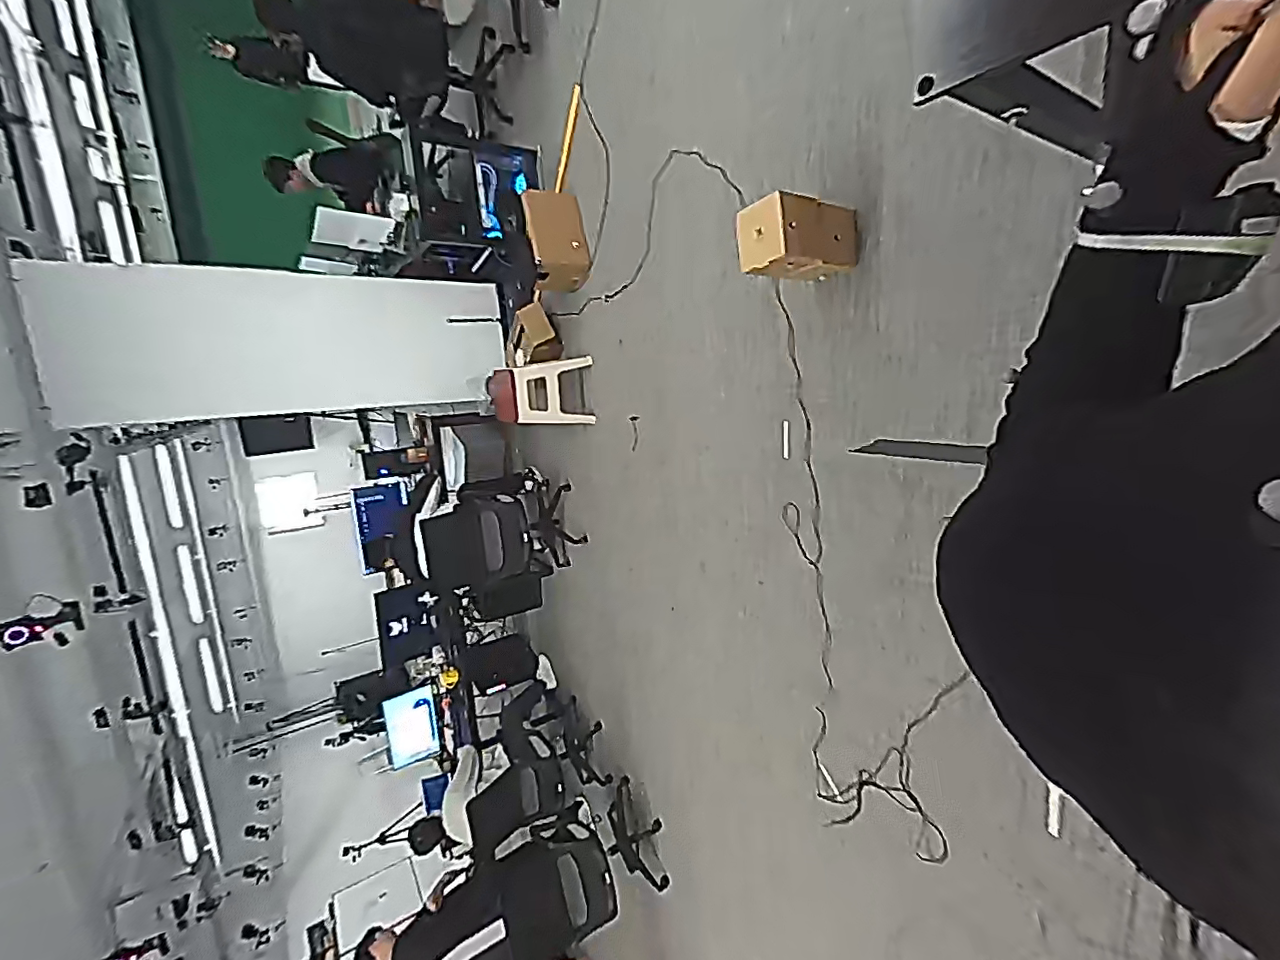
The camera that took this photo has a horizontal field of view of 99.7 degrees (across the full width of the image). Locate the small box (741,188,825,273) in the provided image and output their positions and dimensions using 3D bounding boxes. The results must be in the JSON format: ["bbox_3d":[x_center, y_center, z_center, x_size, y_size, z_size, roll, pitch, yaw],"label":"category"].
[{"bbox_3d":[0.416,-0.710,1.563,0.168,0.176,0.179,1,98,56],"label":"small box"}]

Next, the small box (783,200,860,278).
[{"bbox_3d":[0.552,-0.728,1.650,0.168,0.176,0.179,7,105,56],"label":"small box"}]
